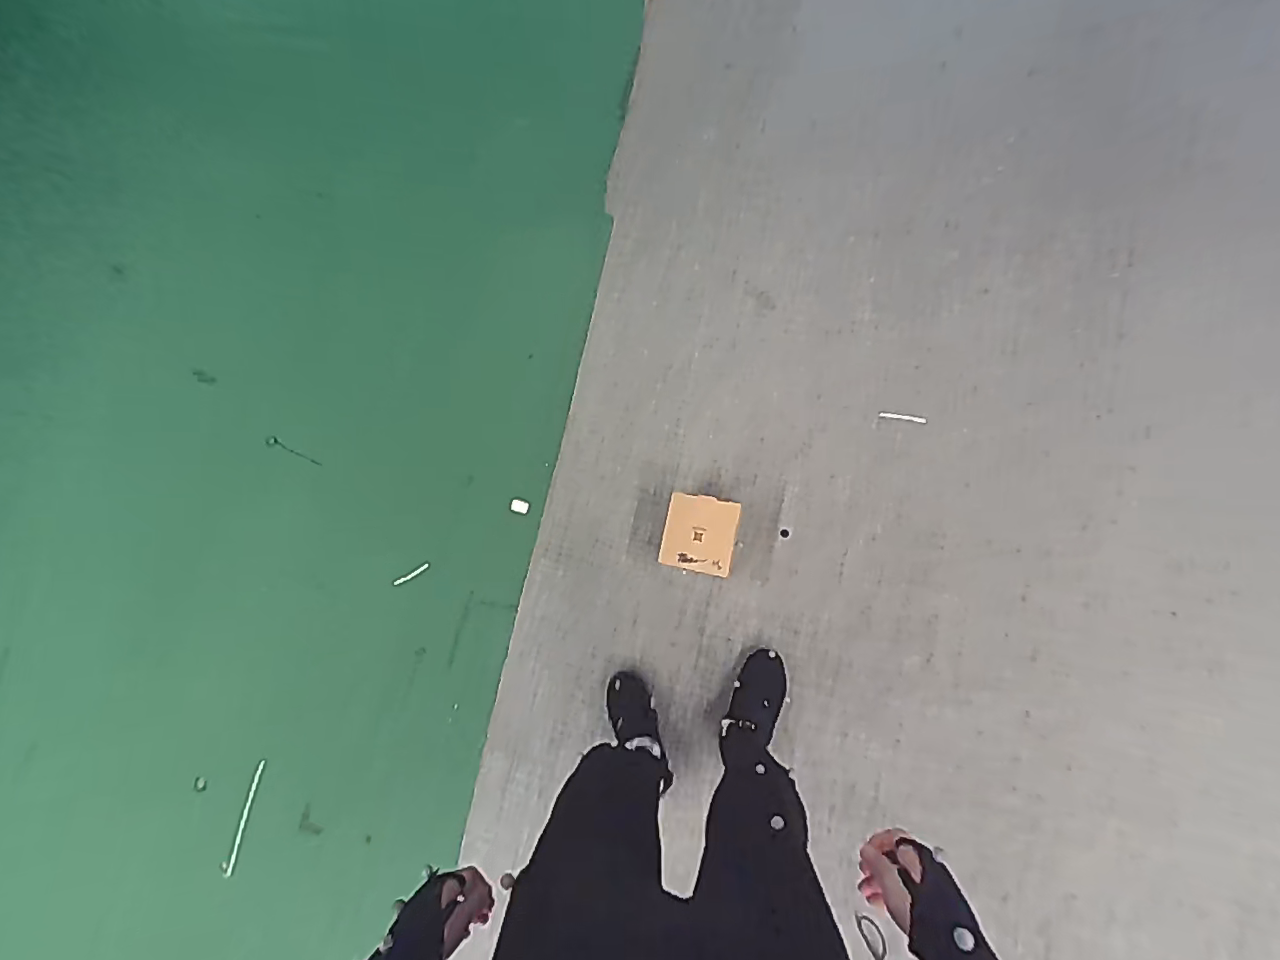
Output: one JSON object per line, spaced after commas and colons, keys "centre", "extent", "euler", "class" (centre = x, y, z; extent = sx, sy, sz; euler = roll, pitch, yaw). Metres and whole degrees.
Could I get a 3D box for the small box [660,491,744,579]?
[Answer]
{"centre": [0.157, 0.139, 1.329], "extent": [0.168, 0.176, 0.179], "euler": [11, 82, 14], "class": "small box"}
